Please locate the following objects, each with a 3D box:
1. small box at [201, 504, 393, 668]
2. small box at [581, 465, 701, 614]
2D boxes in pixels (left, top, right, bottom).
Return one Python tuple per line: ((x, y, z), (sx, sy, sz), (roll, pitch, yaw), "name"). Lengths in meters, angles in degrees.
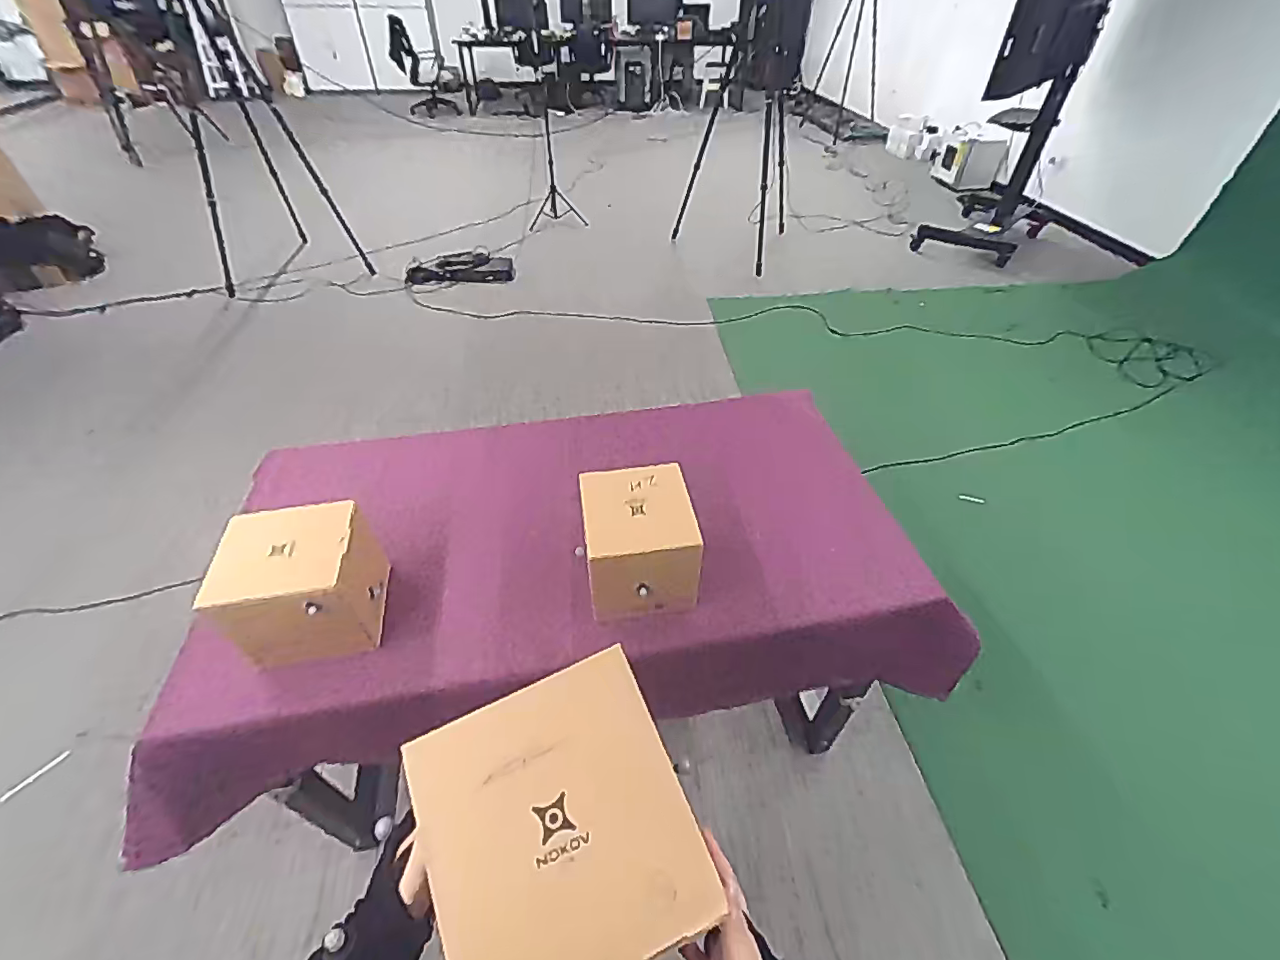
((-0.497, 0.162, 0.818), (0.179, 0.176, 0.168), (-8, 44, -9), "small box")
((-0.002, 0.101, 0.875), (0.168, 0.176, 0.179), (-6, 44, -6), "small box")
